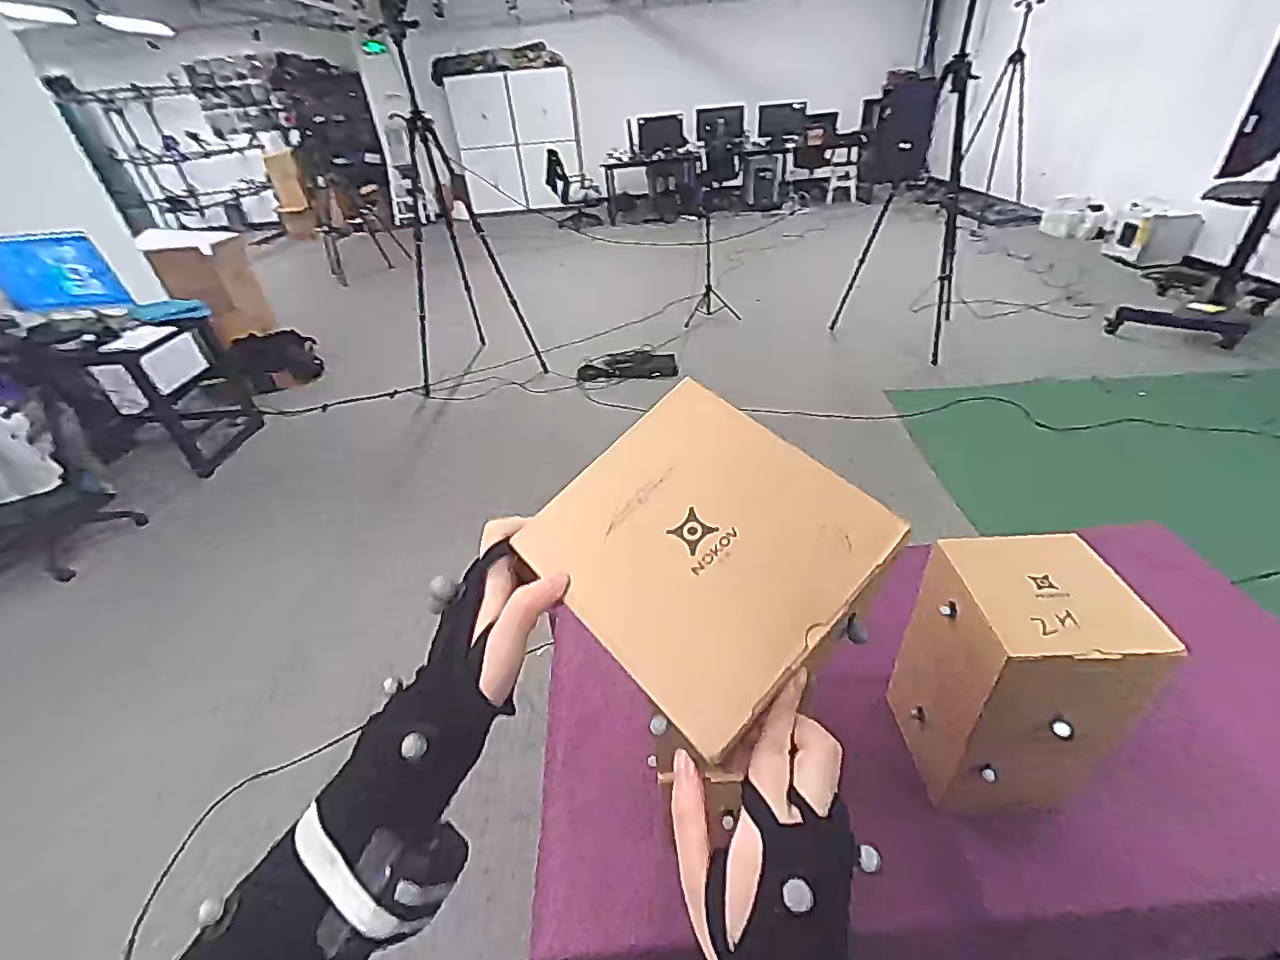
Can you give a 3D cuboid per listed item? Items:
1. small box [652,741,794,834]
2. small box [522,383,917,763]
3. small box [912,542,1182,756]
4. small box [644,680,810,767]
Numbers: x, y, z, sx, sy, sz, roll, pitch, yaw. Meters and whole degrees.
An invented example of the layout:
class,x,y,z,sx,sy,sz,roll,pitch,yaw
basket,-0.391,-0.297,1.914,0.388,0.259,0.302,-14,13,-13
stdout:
class,x,y,z,sx,sy,sz,roll,pitch,yaw
small box,0.103,0.354,0.729,0.168,0.176,0.179,-2,37,2
small box,0.053,0.072,0.387,0.168,0.176,0.179,-40,60,-12
small box,0.443,0.192,0.632,0.168,0.176,0.179,-2,36,4
small box,0.094,0.217,0.638,0.168,0.176,0.179,-2,35,3
